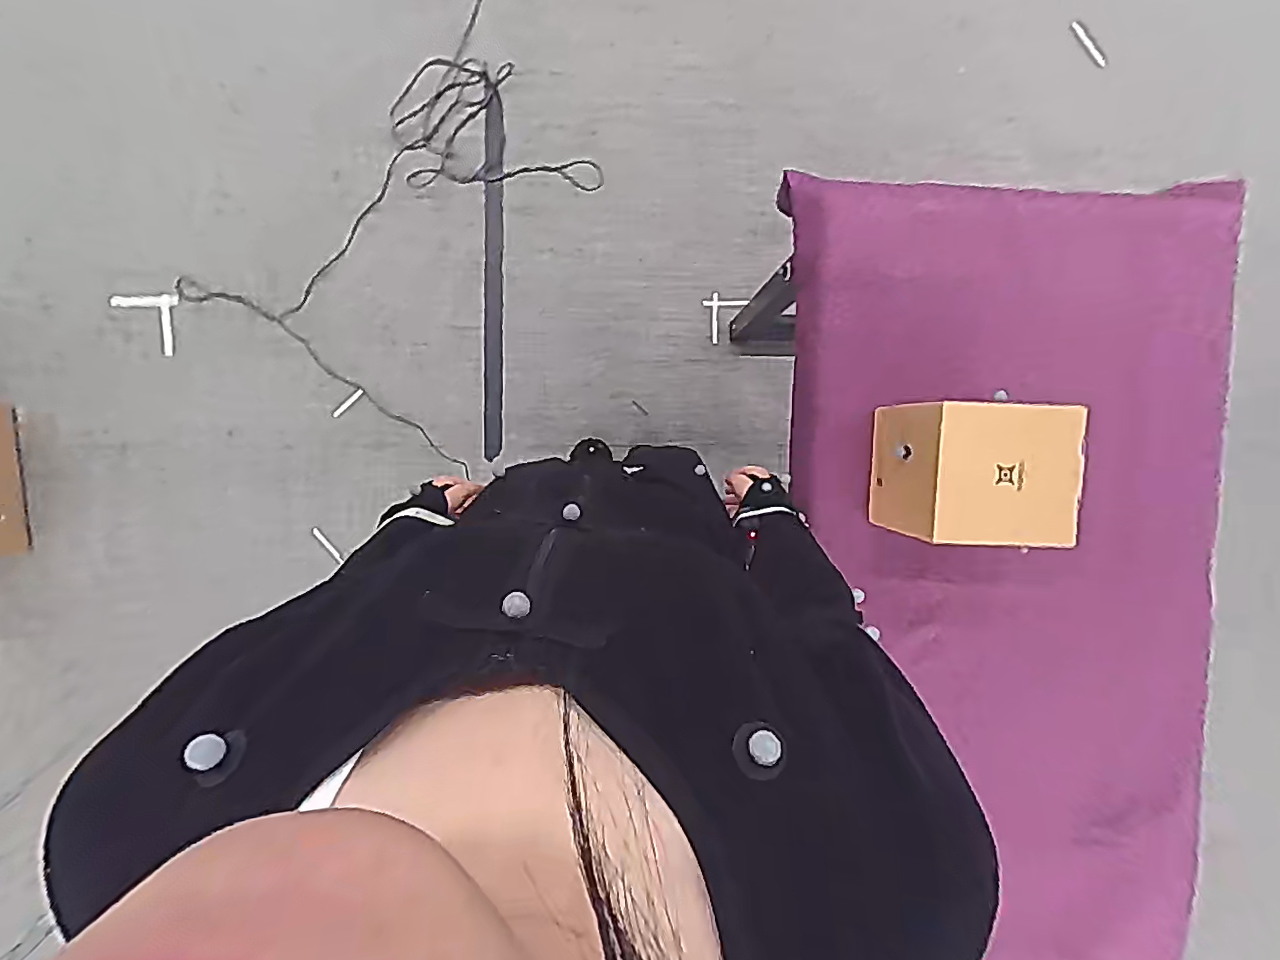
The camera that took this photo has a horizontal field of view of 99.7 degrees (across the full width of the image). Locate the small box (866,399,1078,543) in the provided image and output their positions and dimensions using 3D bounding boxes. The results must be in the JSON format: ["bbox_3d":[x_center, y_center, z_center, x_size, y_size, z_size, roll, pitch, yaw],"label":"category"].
[{"bbox_3d":[0.421,-0.013,0.715,0.179,0.176,0.168,2,94,-4],"label":"small box"}]
